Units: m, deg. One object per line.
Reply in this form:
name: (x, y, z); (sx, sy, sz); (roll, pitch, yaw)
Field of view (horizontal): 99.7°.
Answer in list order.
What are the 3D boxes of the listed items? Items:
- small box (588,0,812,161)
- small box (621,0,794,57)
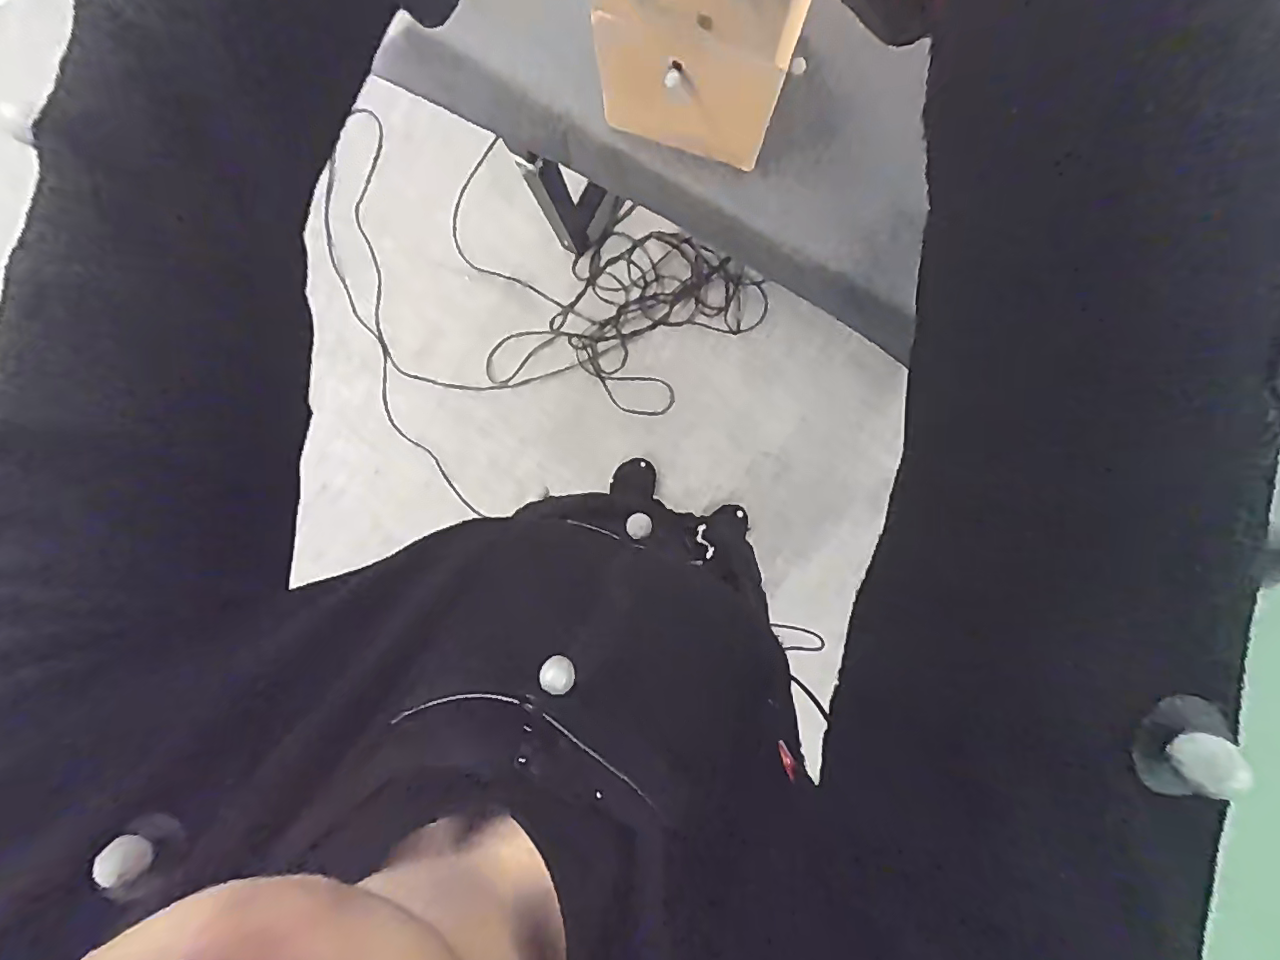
small box: (0.068, -0.446, 0.523); (0.179, 0.176, 0.168); (19, 94, 2)
small box: (0.057, -0.442, 0.360); (0.168, 0.176, 0.179); (21, 93, 1)
